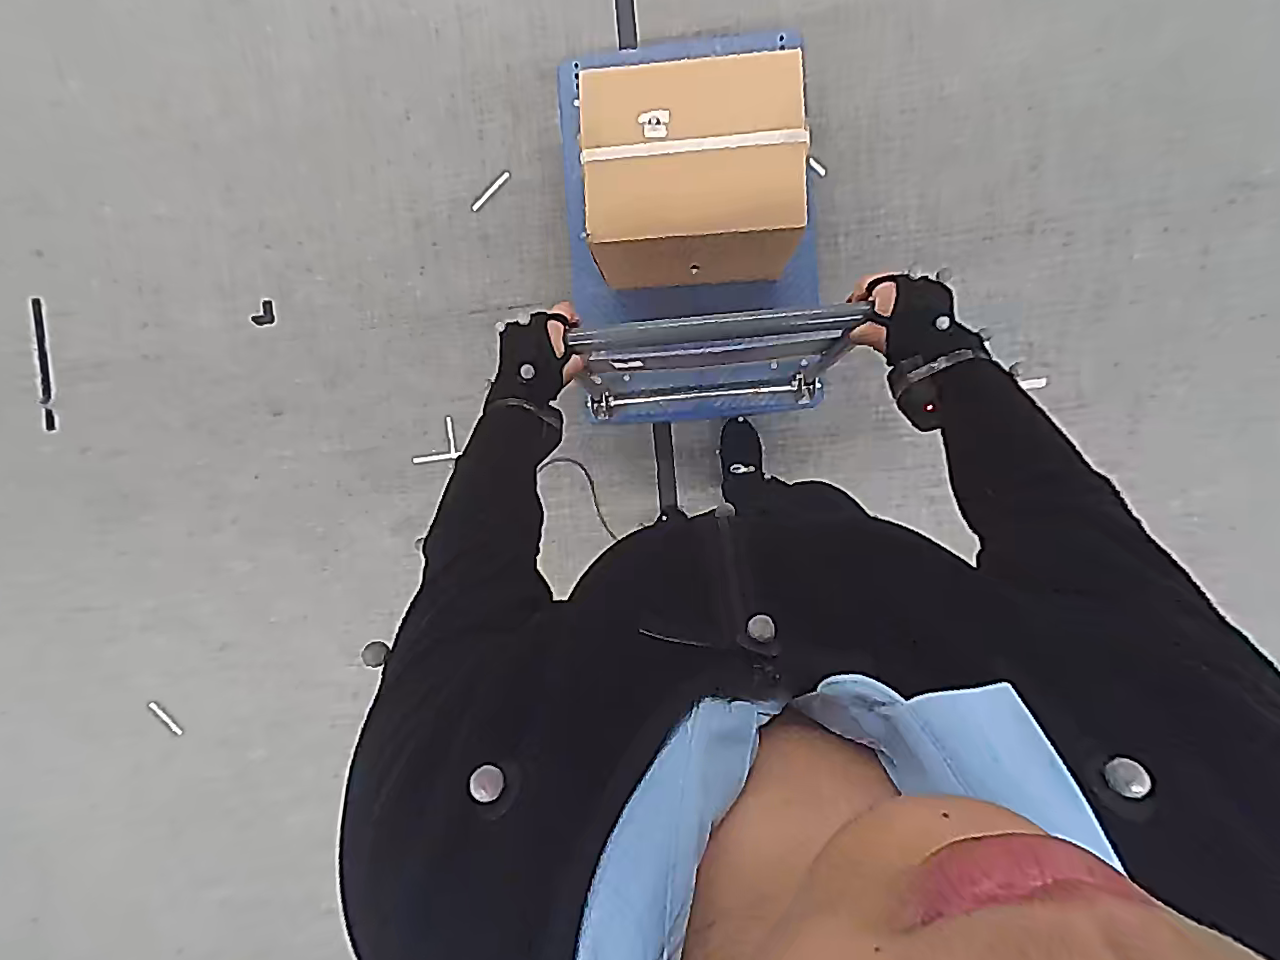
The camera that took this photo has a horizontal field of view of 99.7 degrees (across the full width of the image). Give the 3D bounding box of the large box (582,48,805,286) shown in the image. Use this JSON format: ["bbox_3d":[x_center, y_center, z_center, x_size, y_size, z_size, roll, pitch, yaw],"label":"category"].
[{"bbox_3d":[0.112,-0.621,1.143,0.408,0.320,0.320,-2,92,6],"label":"large box"}]
